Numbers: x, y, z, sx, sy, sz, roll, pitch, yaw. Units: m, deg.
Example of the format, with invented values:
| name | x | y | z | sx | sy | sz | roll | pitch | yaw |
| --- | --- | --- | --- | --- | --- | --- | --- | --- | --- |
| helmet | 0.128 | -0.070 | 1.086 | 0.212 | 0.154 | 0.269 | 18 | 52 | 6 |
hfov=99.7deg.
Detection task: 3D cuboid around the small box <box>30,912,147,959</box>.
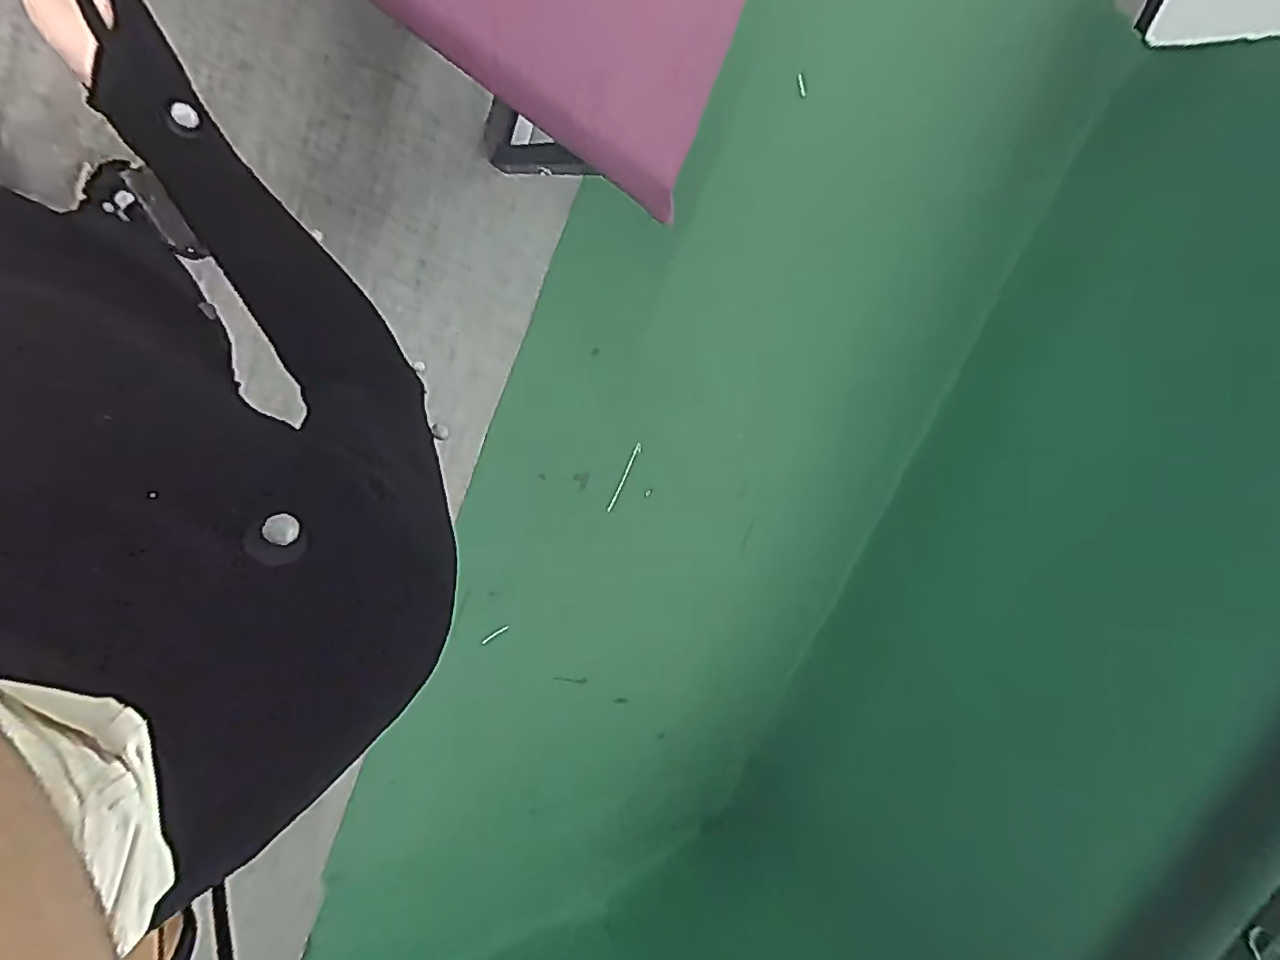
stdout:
| name | x | y | z | sx | sy | sz | roll | pitch | yaw |
| --- | --- | --- | --- | --- | --- | --- | --- | --- | --- |
| small box | -1.072 | 0.991 | 1.034 | 0.168 | 0.176 | 0.179 | 17 | 102 | -46 |
